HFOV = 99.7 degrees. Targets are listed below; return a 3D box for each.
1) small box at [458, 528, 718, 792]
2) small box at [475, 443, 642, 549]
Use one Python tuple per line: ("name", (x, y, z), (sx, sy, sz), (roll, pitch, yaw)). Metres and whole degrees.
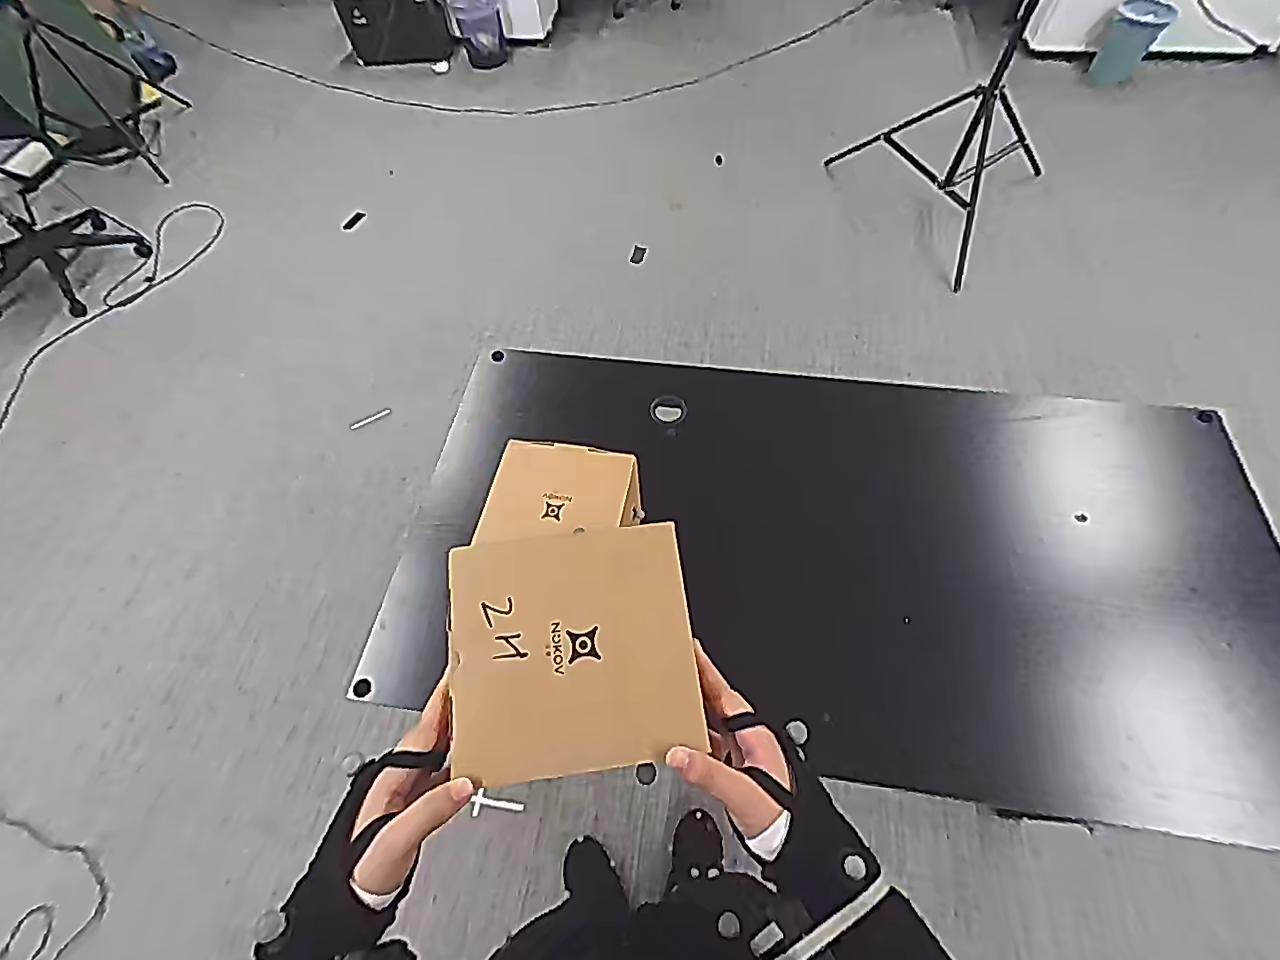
("small box", (-0.044, 0.148, 0.460), (0.179, 0.176, 0.168), (-7, 69, -4))
("small box", (-0.092, 0.076, 0.700), (0.168, 0.176, 0.179), (7, 62, 8))
